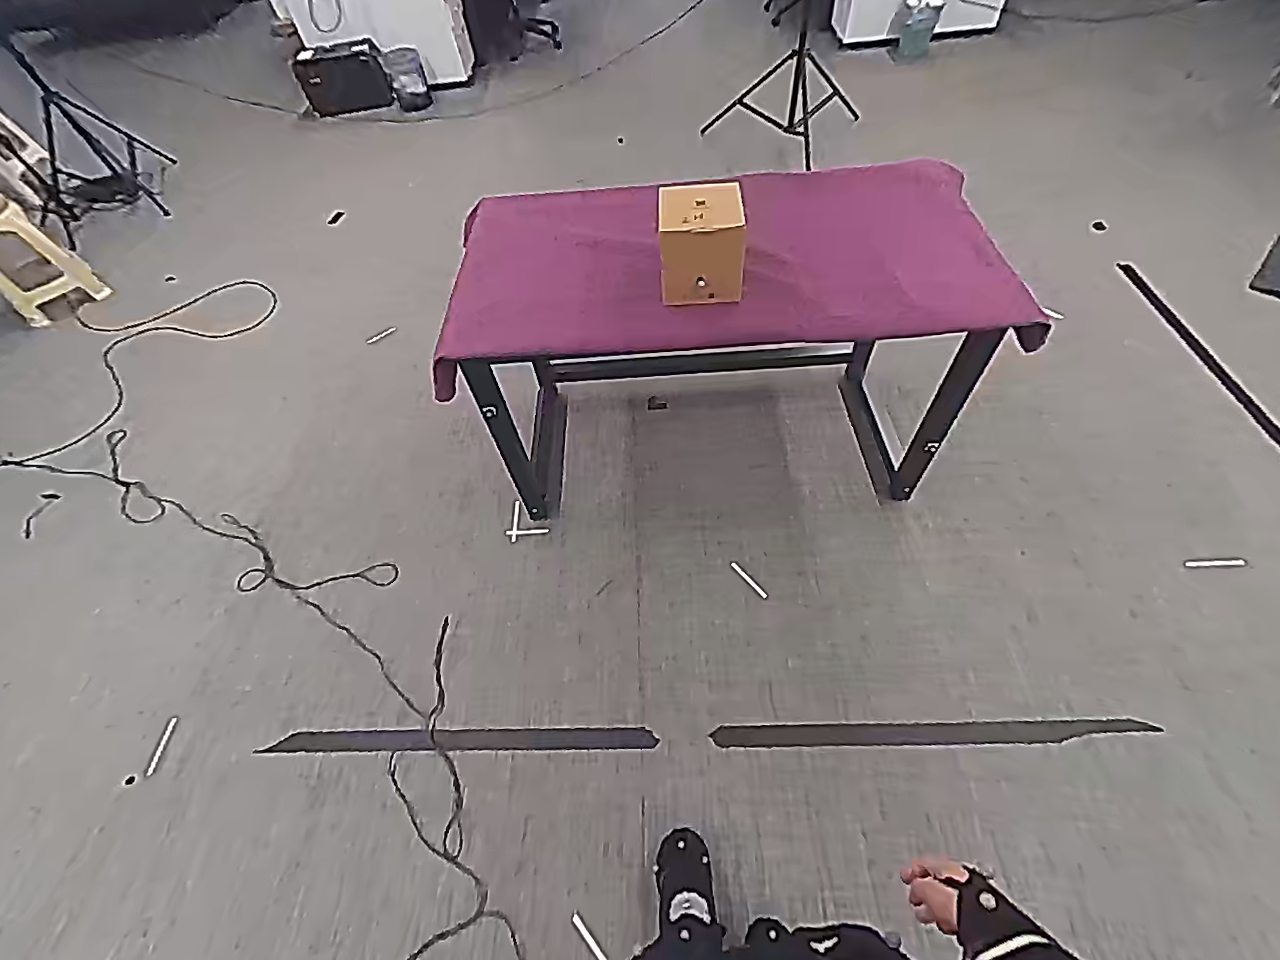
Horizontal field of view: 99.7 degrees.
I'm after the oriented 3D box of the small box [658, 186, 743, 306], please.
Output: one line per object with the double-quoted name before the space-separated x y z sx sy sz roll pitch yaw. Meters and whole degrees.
"small box" 0.123 -0.490 1.136 0.168 0.176 0.179 -2 54 5
